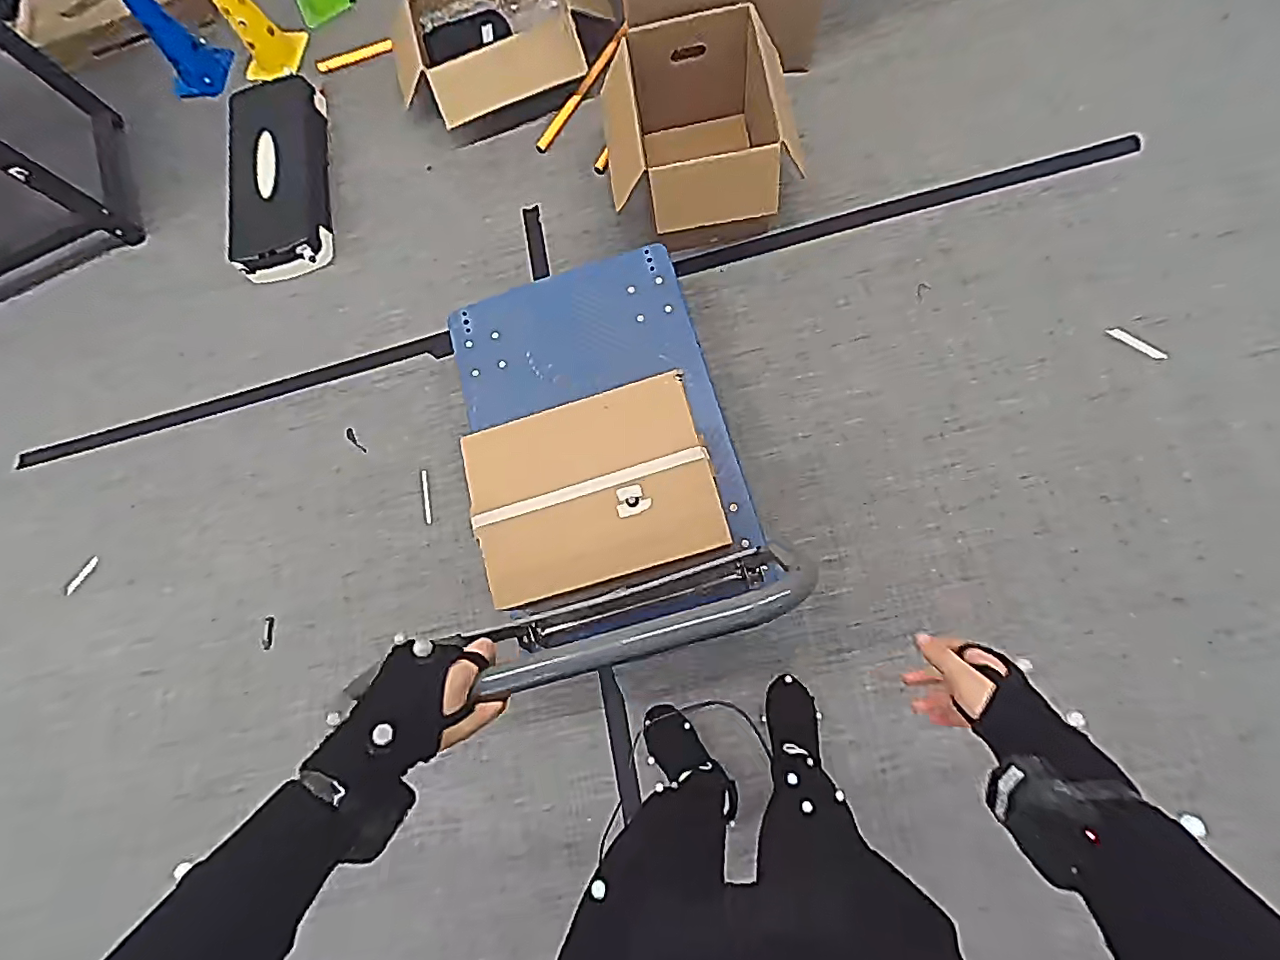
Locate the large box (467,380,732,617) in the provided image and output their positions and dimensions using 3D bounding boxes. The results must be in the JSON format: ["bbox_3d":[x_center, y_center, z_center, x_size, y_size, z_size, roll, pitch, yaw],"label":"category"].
[{"bbox_3d":[-0.063,0.059,1.056,0.408,0.320,0.320,-17,76,3],"label":"large box"}]
